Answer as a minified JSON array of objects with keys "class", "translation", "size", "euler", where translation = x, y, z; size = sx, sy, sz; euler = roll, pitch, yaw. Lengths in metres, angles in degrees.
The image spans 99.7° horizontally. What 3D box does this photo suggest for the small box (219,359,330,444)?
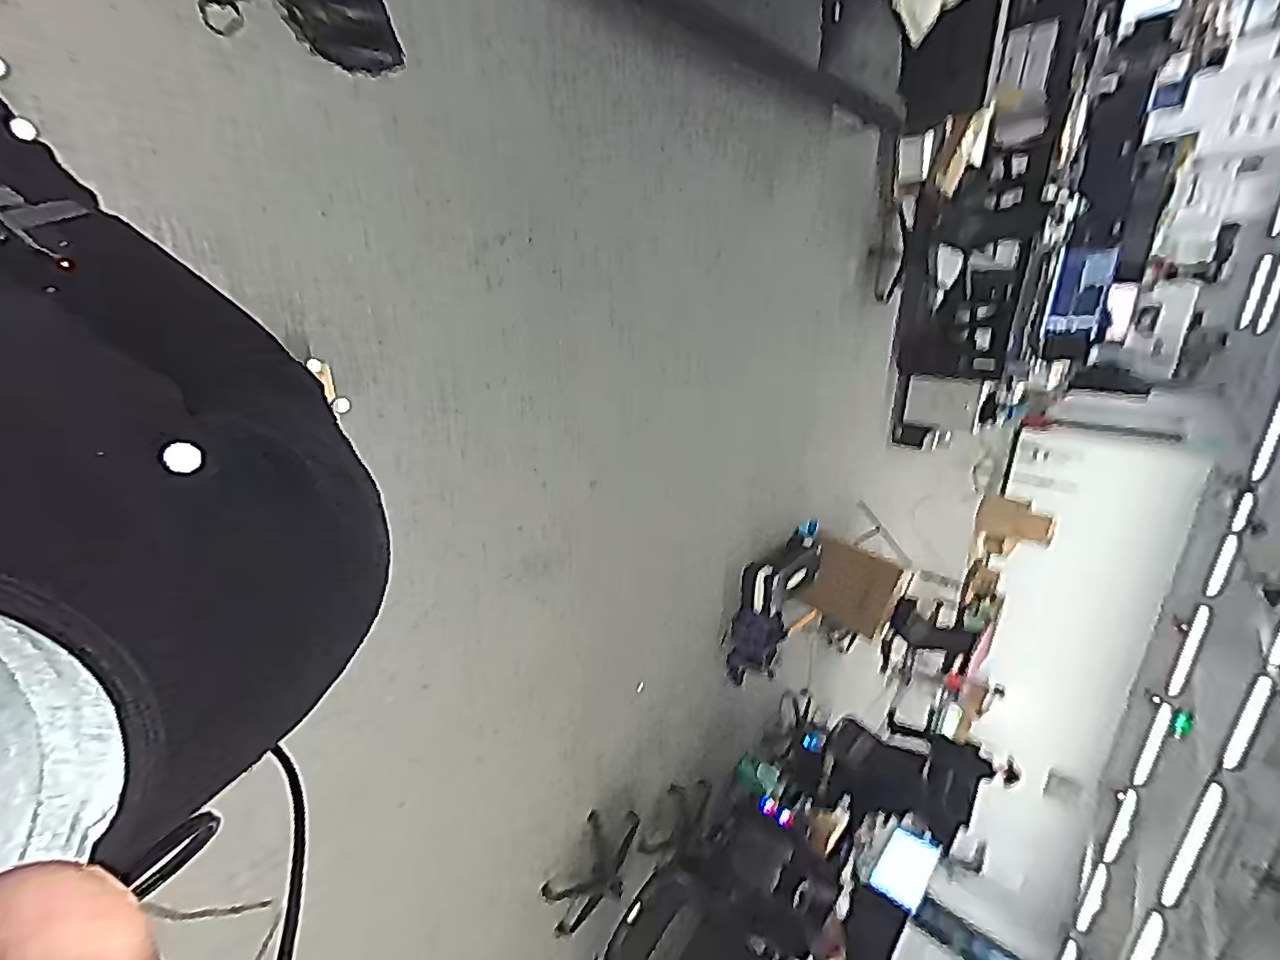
[{"class":"small box","translation":[-0.874,-0.193,1.290],"size":[0.179,0.176,0.168],"euler":[-20,118,-43]}]
